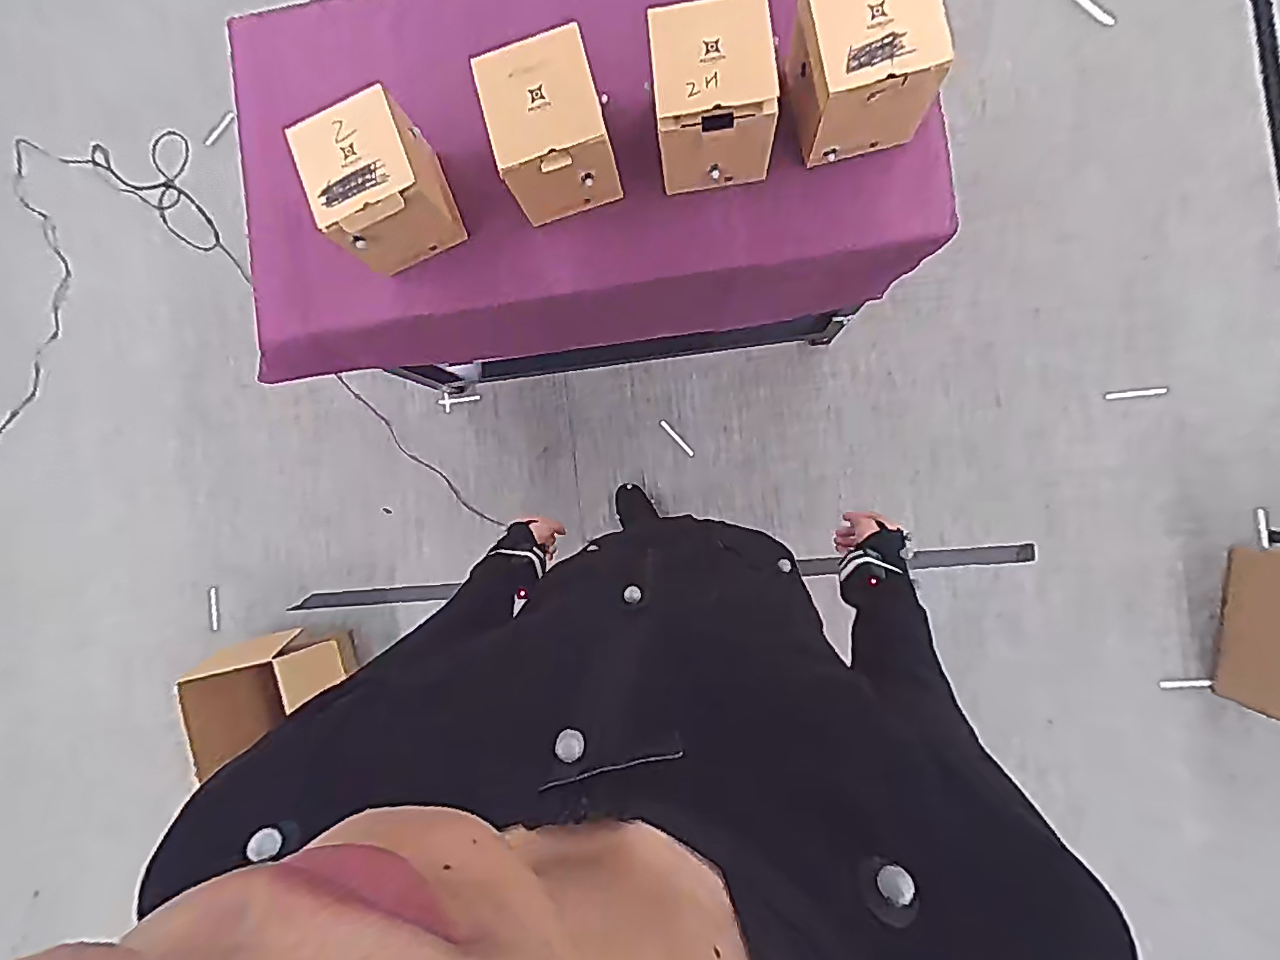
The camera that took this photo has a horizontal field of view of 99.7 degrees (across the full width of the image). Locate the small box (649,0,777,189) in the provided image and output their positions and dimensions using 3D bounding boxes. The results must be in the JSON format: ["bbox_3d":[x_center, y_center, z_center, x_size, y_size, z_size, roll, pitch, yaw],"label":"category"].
[{"bbox_3d":[0.106,-0.578,0.817,0.168,0.176,0.179,-5,89,6],"label":"small box"}]

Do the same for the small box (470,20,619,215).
[{"bbox_3d":[-0.138,-0.546,0.846,0.168,0.176,0.179,-15,87,6],"label":"small box"}]

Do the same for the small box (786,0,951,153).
[{"bbox_3d":[0.321,-0.615,0.793,0.168,0.176,0.179,-11,87,7],"label":"small box"}]
